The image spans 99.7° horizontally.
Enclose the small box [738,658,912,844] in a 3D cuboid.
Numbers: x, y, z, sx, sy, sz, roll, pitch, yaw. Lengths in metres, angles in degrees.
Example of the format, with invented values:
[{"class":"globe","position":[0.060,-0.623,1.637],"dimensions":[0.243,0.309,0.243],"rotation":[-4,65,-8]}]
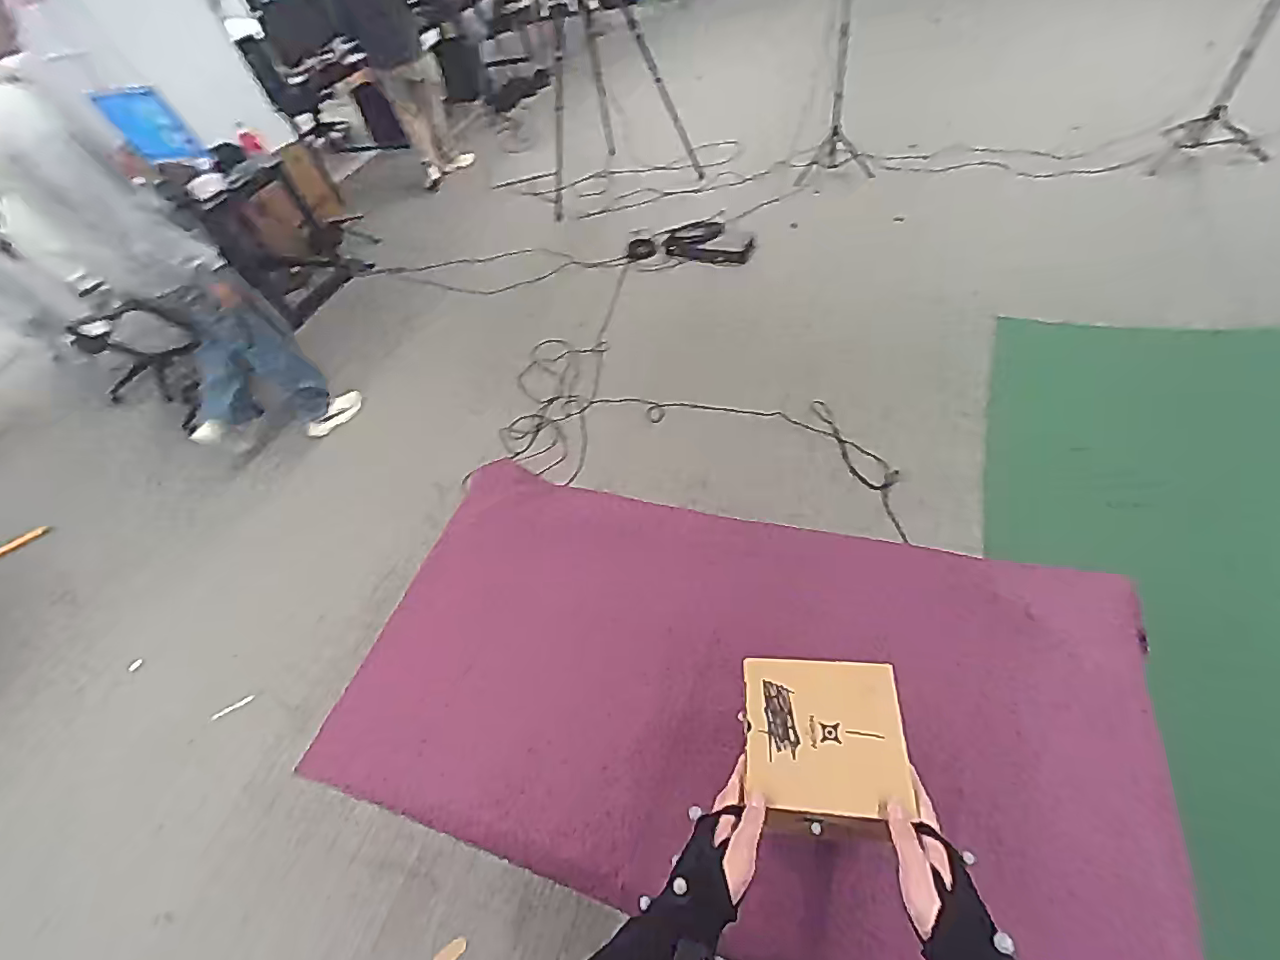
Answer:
[{"class":"small box","position":[0.214,0.337,0.671],"dimensions":[0.179,0.176,0.168],"rotation":[0,50,11]}]
